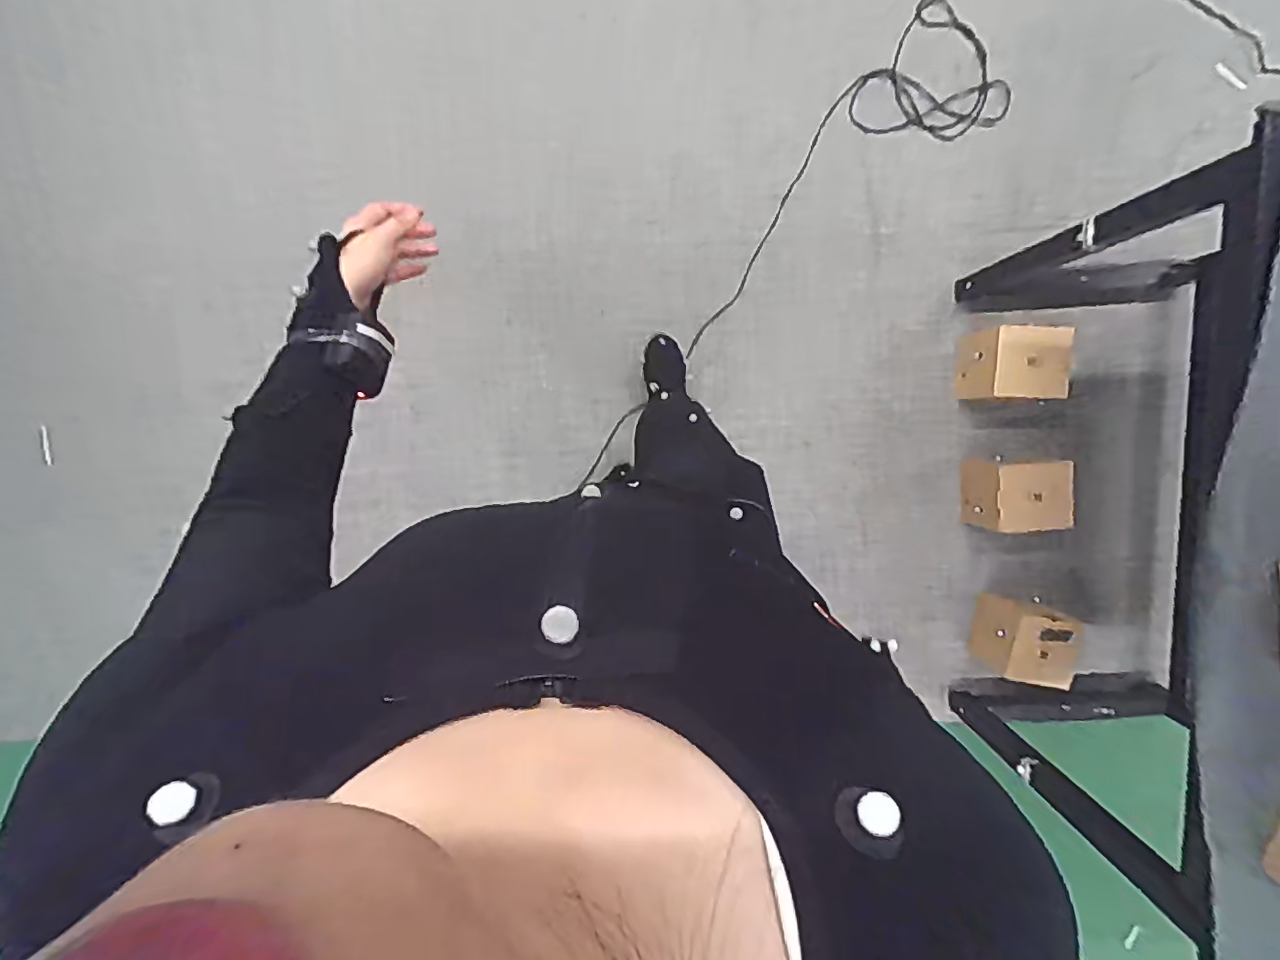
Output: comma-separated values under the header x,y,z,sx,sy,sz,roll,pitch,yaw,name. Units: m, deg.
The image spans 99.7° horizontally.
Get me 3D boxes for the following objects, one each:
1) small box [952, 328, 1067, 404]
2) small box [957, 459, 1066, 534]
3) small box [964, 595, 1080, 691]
x,y,z,sx,sy,sz,roll,pitch,yaw,name
0.911,-0.279,1.351,0.179,0.176,0.168,1,96,0,small box
0.939,0.037,1.381,0.179,0.176,0.168,-5,96,1,small box
0.991,0.419,1.420,0.168,0.176,0.179,10,98,0,small box
